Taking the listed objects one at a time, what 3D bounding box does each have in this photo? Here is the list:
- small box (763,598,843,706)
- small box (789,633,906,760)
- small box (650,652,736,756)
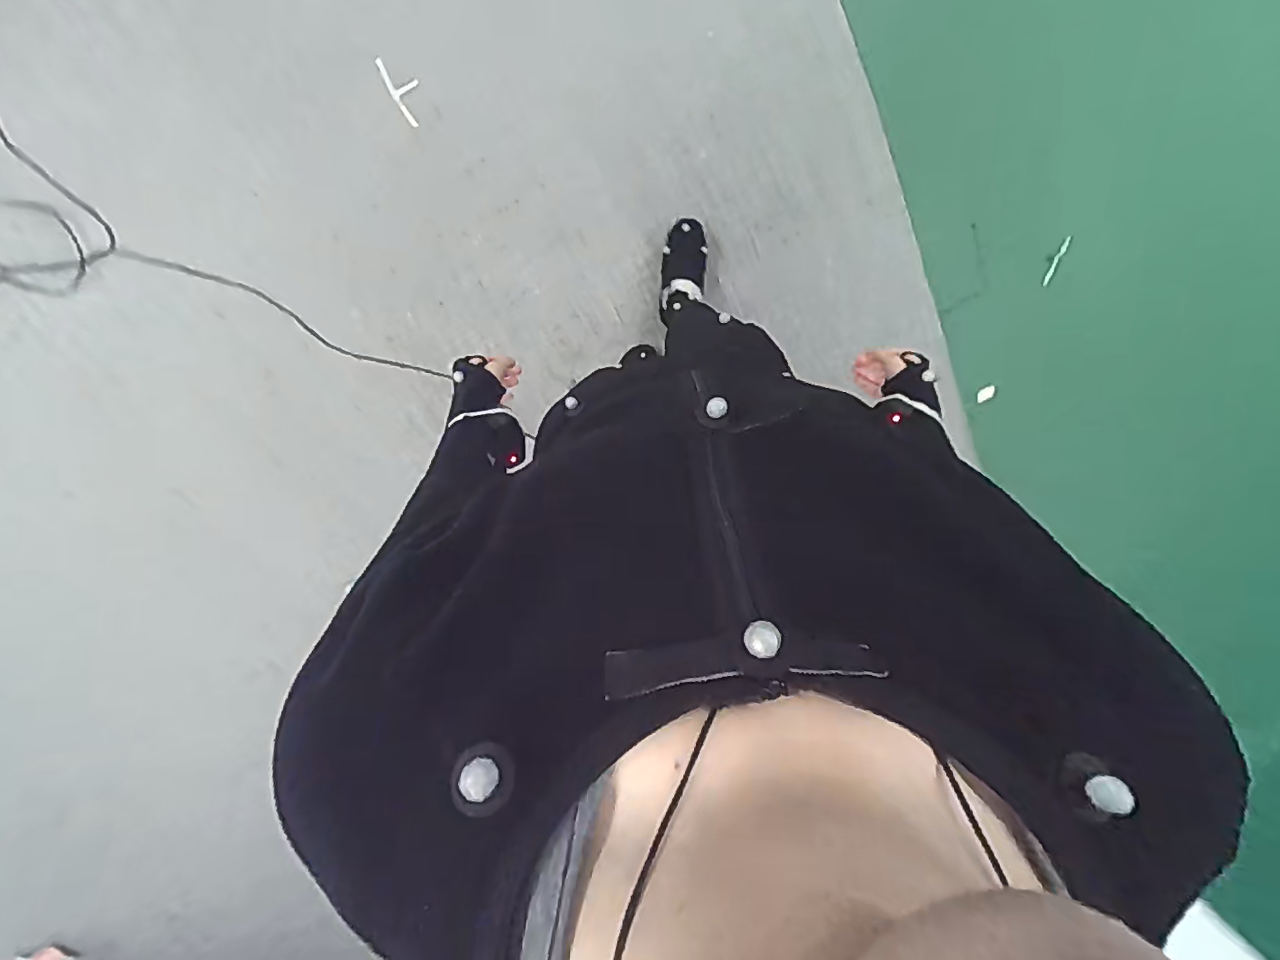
[{"bbox_3d":[0.443,0.441,1.401,0.168,0.176,0.179,-28,107,3],"label":"small box"},{"bbox_3d":[0.465,0.491,1.246,0.179,0.176,0.168,-31,108,3],"label":"small box"},{"bbox_3d":[0.135,0.578,1.418,0.179,0.176,0.168,-15,107,-1],"label":"small box"}]
